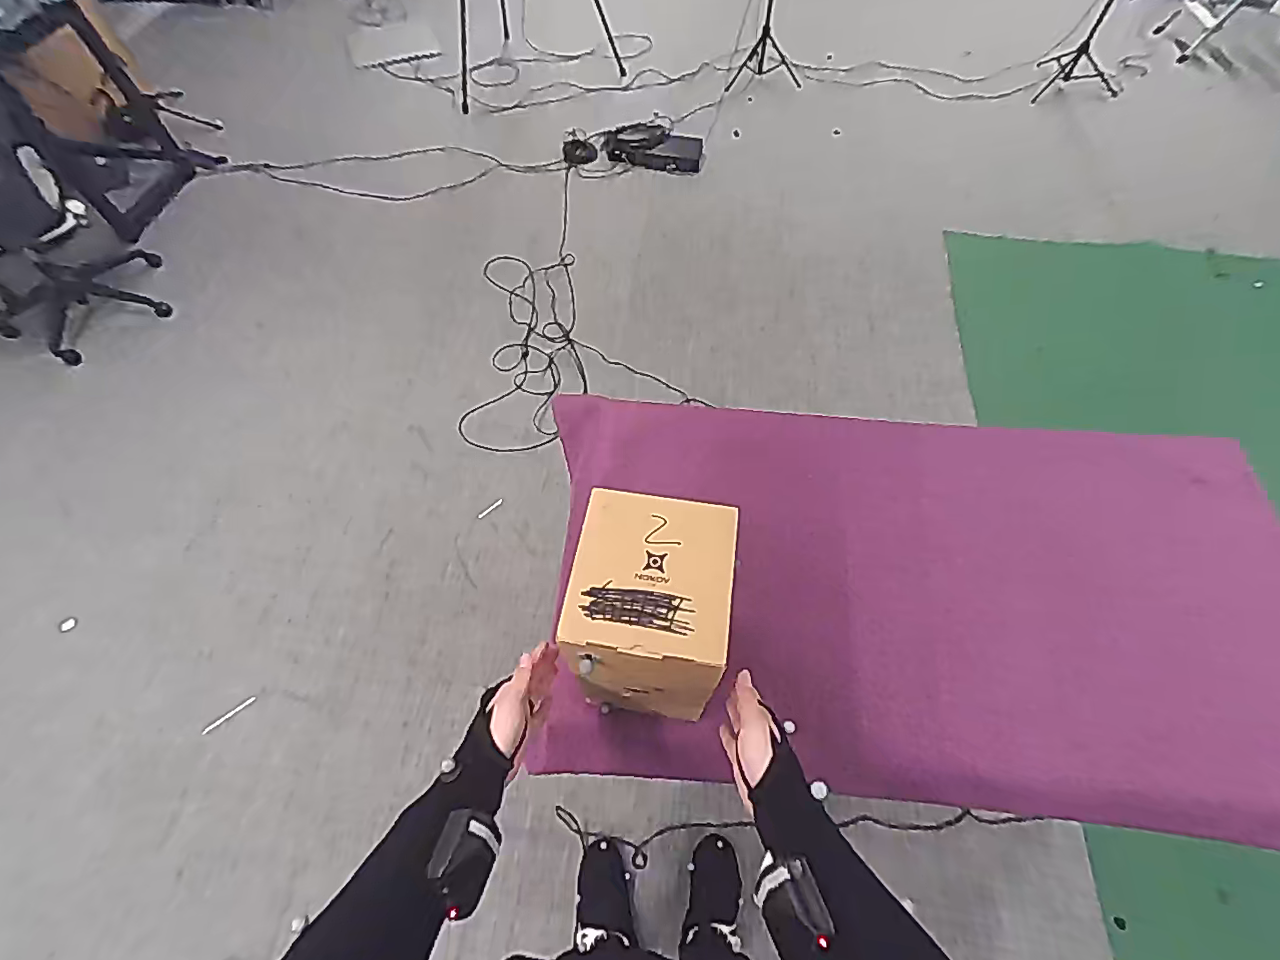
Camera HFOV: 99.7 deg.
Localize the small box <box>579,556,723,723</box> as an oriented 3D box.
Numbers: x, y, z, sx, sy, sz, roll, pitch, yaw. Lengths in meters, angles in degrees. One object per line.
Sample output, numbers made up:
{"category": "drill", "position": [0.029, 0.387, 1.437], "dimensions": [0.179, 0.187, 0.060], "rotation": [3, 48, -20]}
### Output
{"category": "small box", "position": [0.019, 0.229, 0.759], "dimensions": [0.168, 0.176, 0.179], "rotation": [8, 58, 5]}
